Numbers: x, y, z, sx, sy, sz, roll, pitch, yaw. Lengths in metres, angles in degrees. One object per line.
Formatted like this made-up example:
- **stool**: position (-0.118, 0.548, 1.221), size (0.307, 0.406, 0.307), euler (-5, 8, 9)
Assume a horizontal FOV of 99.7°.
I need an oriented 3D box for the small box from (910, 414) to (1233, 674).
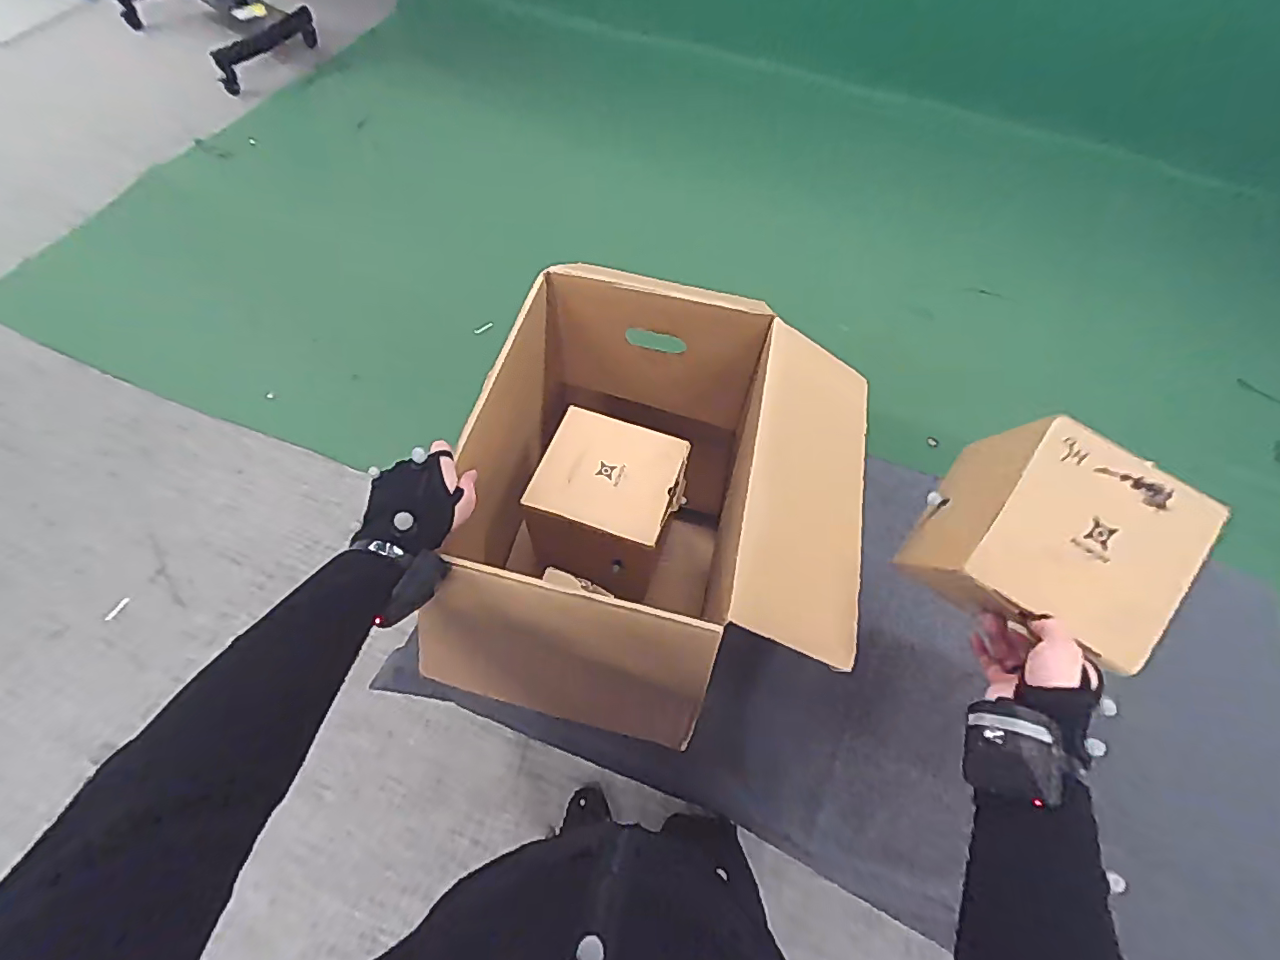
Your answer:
- **small box**: position (0.413, 0.063, 0.559), size (0.168, 0.176, 0.179), euler (34, 88, 8)
